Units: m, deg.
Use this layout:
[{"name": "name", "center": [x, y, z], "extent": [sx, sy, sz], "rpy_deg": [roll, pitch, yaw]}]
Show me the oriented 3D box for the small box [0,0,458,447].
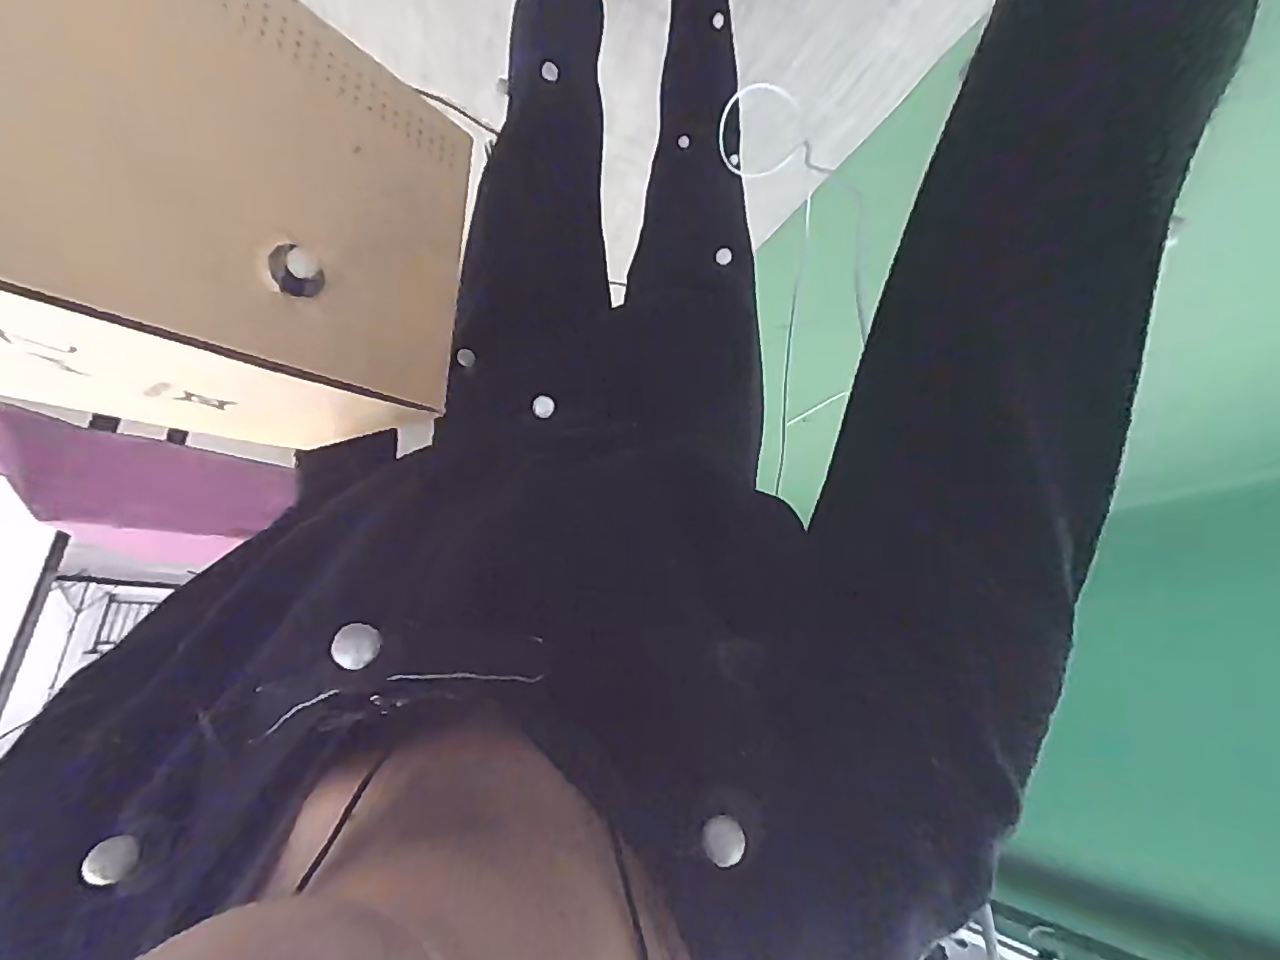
[{"name": "small box", "center": [-0.211, -0.123, 0.265], "extent": [0.168, 0.176, 0.179], "rpy_deg": [-7, 166, 35]}]
